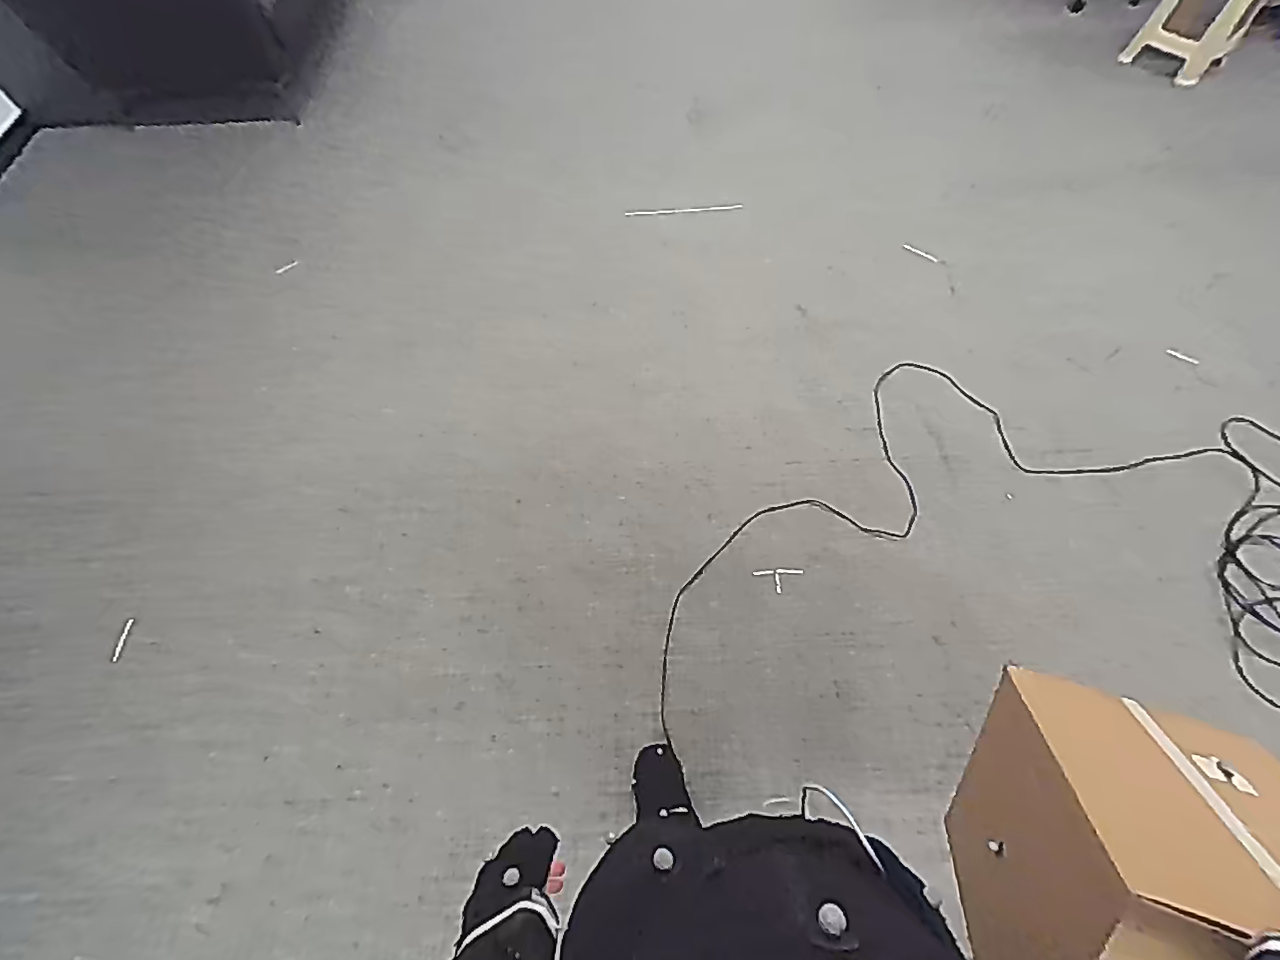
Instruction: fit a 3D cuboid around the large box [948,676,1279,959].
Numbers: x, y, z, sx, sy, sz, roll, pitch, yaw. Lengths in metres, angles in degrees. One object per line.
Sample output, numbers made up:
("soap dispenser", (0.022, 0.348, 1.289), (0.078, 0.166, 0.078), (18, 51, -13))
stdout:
("large box", (0.618, 0.520, 0.654), (0.320, 0.408, 0.320), (16, 106, 17))
